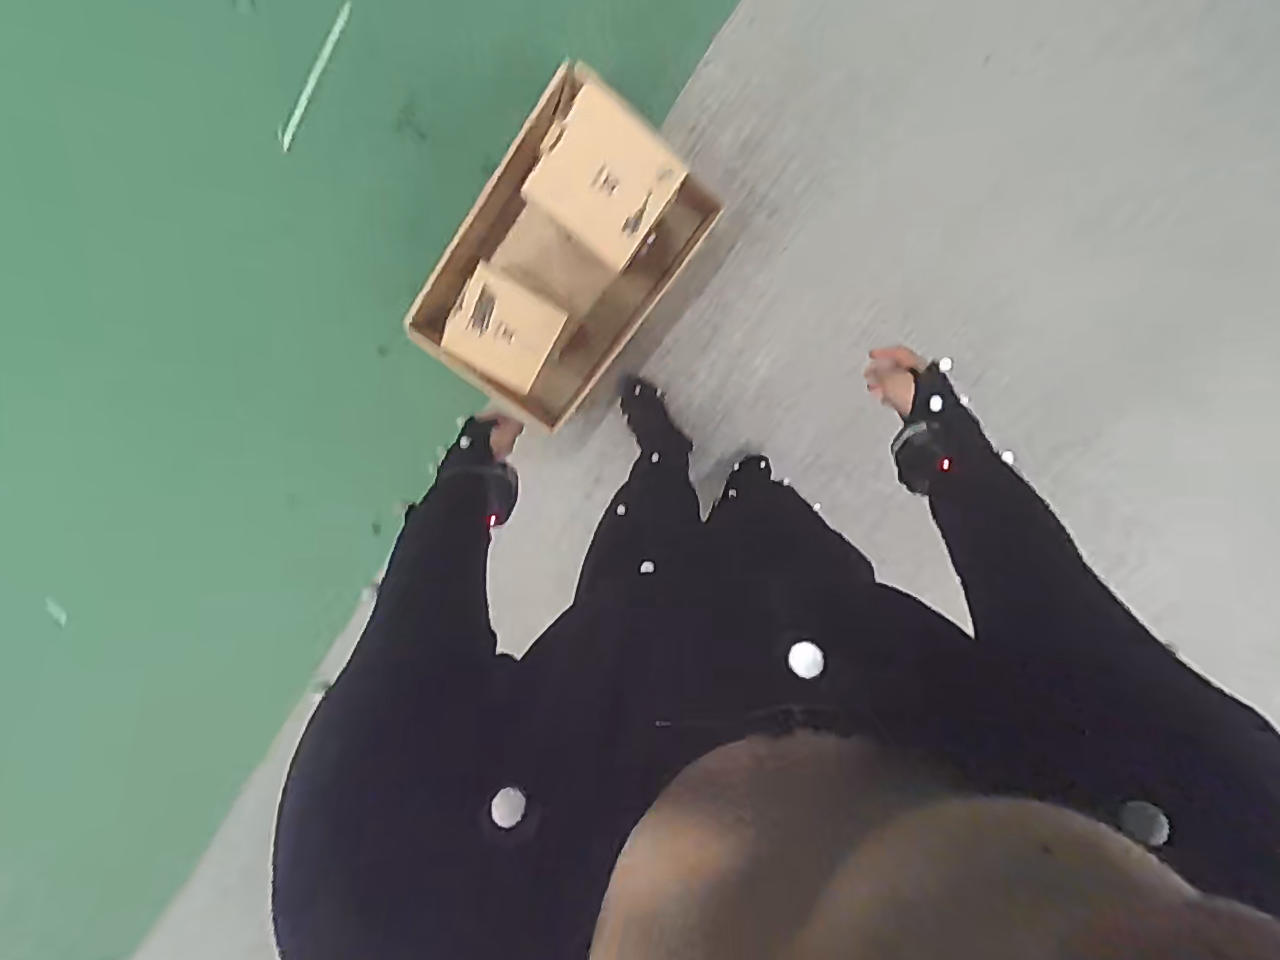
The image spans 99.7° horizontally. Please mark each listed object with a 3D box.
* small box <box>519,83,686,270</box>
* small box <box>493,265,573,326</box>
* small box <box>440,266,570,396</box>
[{"bbox_3d":[-0.054,-0.437,0.820,0.179,0.176,0.168,34,104,-12],"label":"small box"},{"bbox_3d":[-0.262,-0.344,1.187,0.179,0.176,0.168,31,103,-12],"label":"small box"},{"bbox_3d":[-0.248,-0.282,1.034,0.179,0.176,0.168,29,104,-13],"label":"small box"}]
